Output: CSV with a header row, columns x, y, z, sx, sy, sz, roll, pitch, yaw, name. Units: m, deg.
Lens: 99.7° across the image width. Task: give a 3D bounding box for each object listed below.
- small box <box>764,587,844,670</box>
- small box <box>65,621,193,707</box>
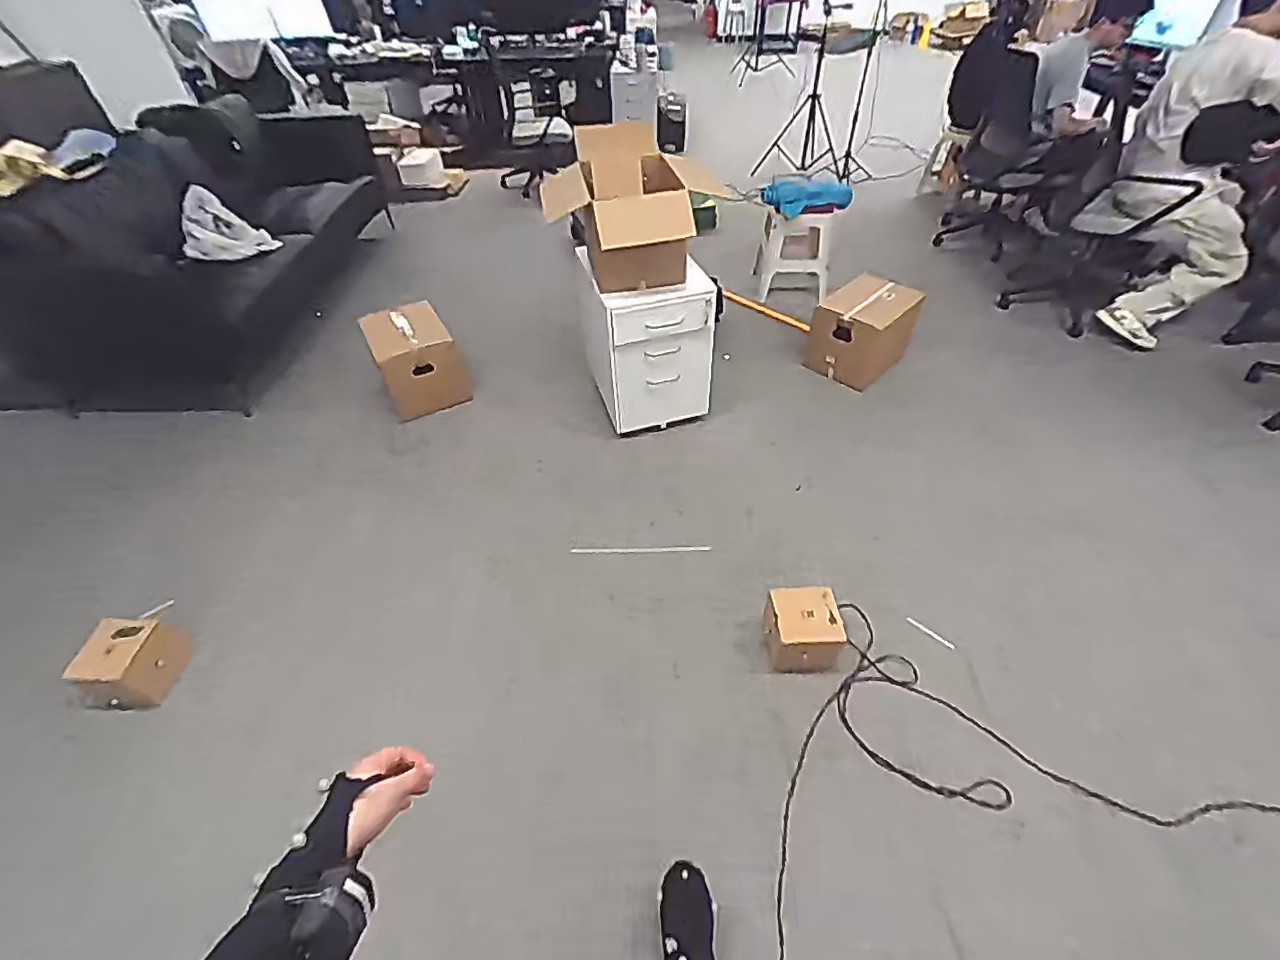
x,y,z,sx,sy,sz,roll,pitch,yaw,name
0.450,0.420,1.518,0.179,0.176,0.168,-3,46,1,small box
-1.424,0.519,1.527,0.168,0.176,0.179,0,46,3,small box
